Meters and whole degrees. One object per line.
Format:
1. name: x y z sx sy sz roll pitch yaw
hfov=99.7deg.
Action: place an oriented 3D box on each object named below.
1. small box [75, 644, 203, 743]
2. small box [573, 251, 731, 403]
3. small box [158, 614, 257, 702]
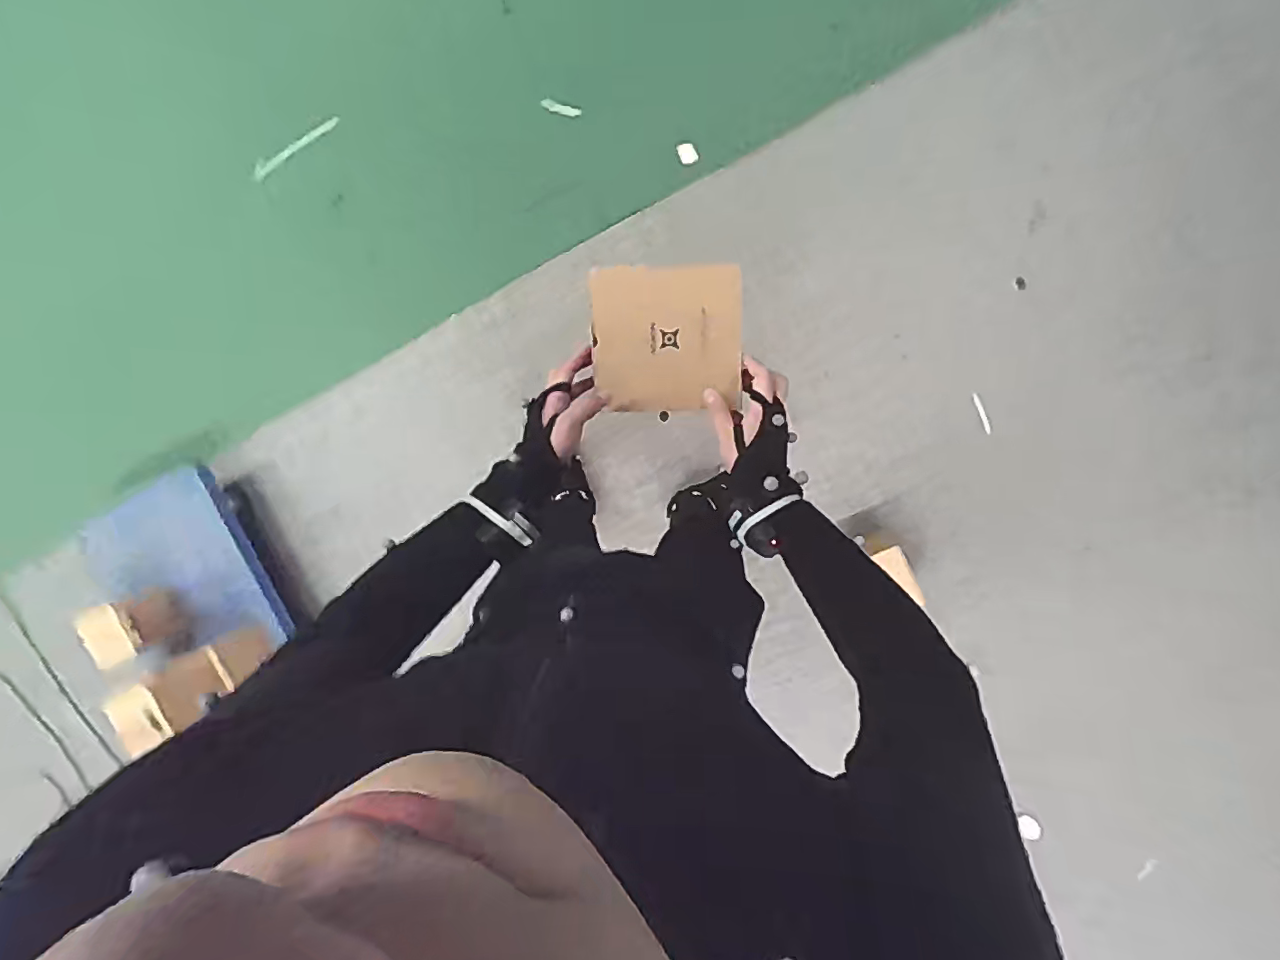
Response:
1. small box: -1.337 0.569 1.462 0.179 0.176 0.168 -22 96 12
2. small box: 0.018 -0.184 0.683 0.179 0.176 0.168 0 102 3
3. small box: -1.291 0.530 1.625 0.168 0.176 0.179 8 102 5
